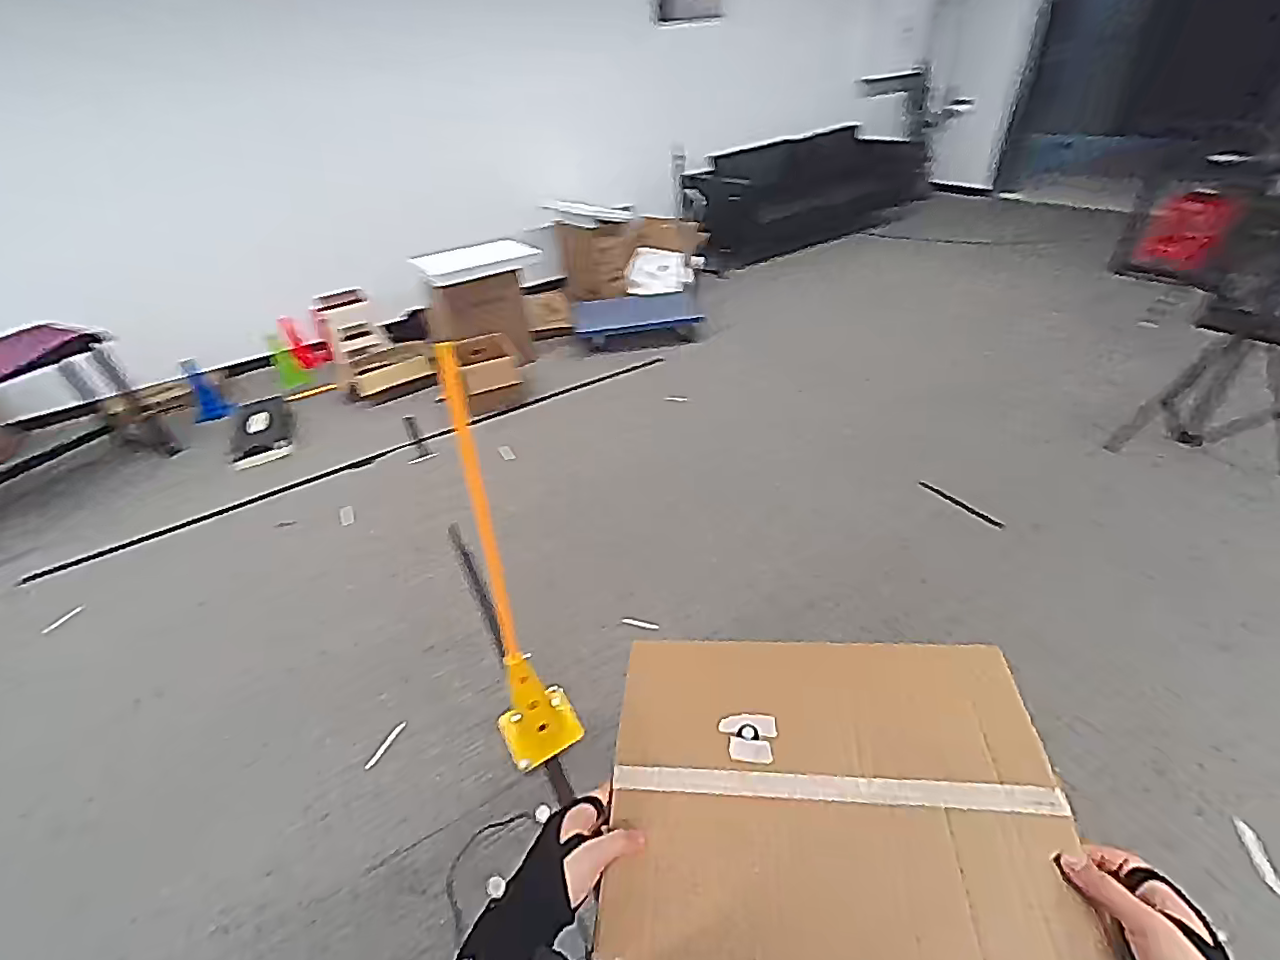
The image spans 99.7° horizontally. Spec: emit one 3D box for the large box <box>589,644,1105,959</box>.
[{"bbox_3d":[0.189,0.408,0.614,0.408,0.320,0.320,-4,41,11],"label":"large box"}]
